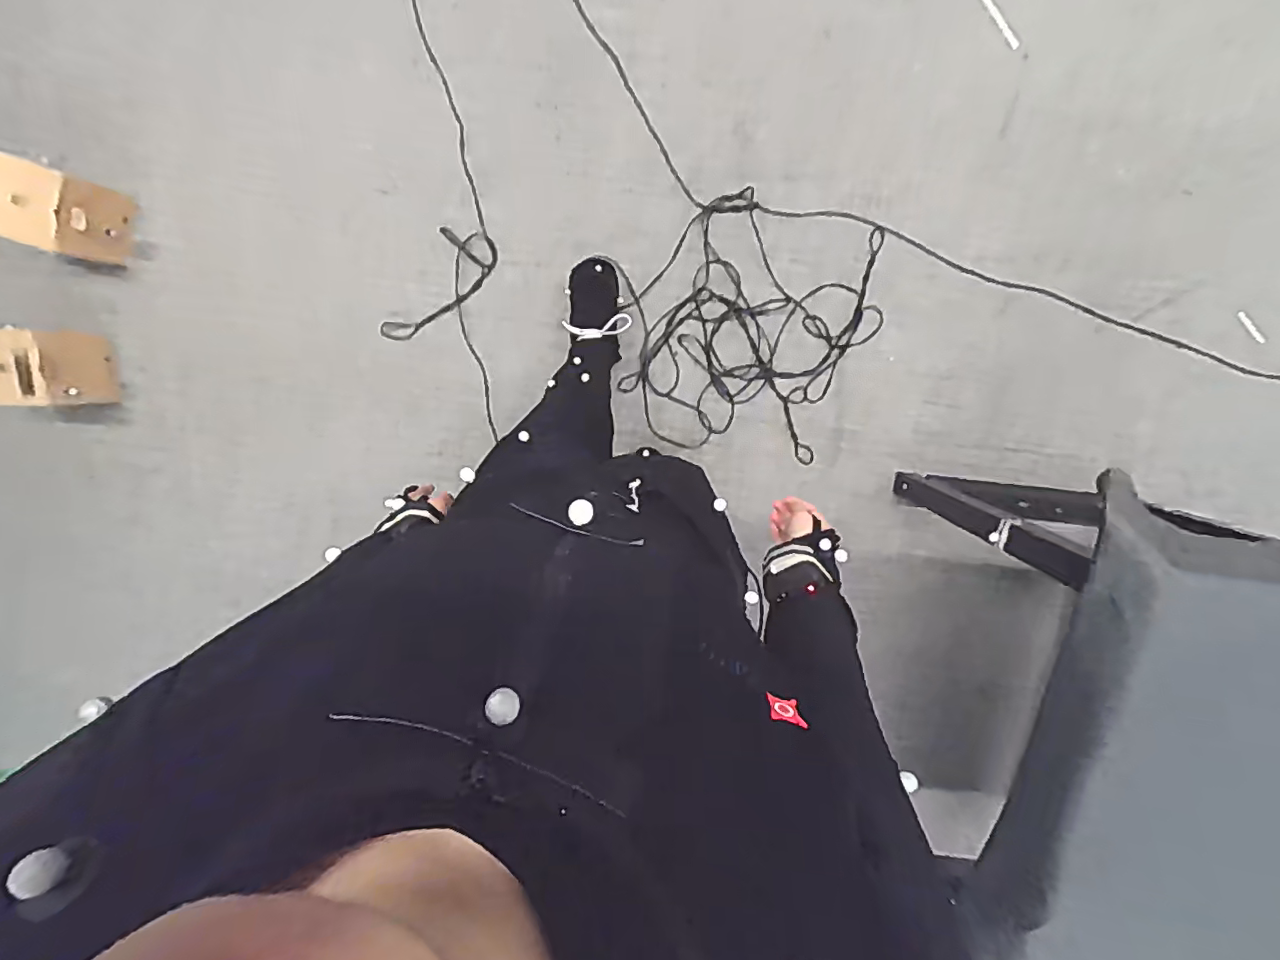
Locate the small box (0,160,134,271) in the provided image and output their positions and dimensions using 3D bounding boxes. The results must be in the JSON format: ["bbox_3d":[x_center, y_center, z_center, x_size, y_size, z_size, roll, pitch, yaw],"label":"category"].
[{"bbox_3d":[-1.285,-0.575,1.190,0.179,0.176,0.168,17,101,-2],"label":"small box"}]
